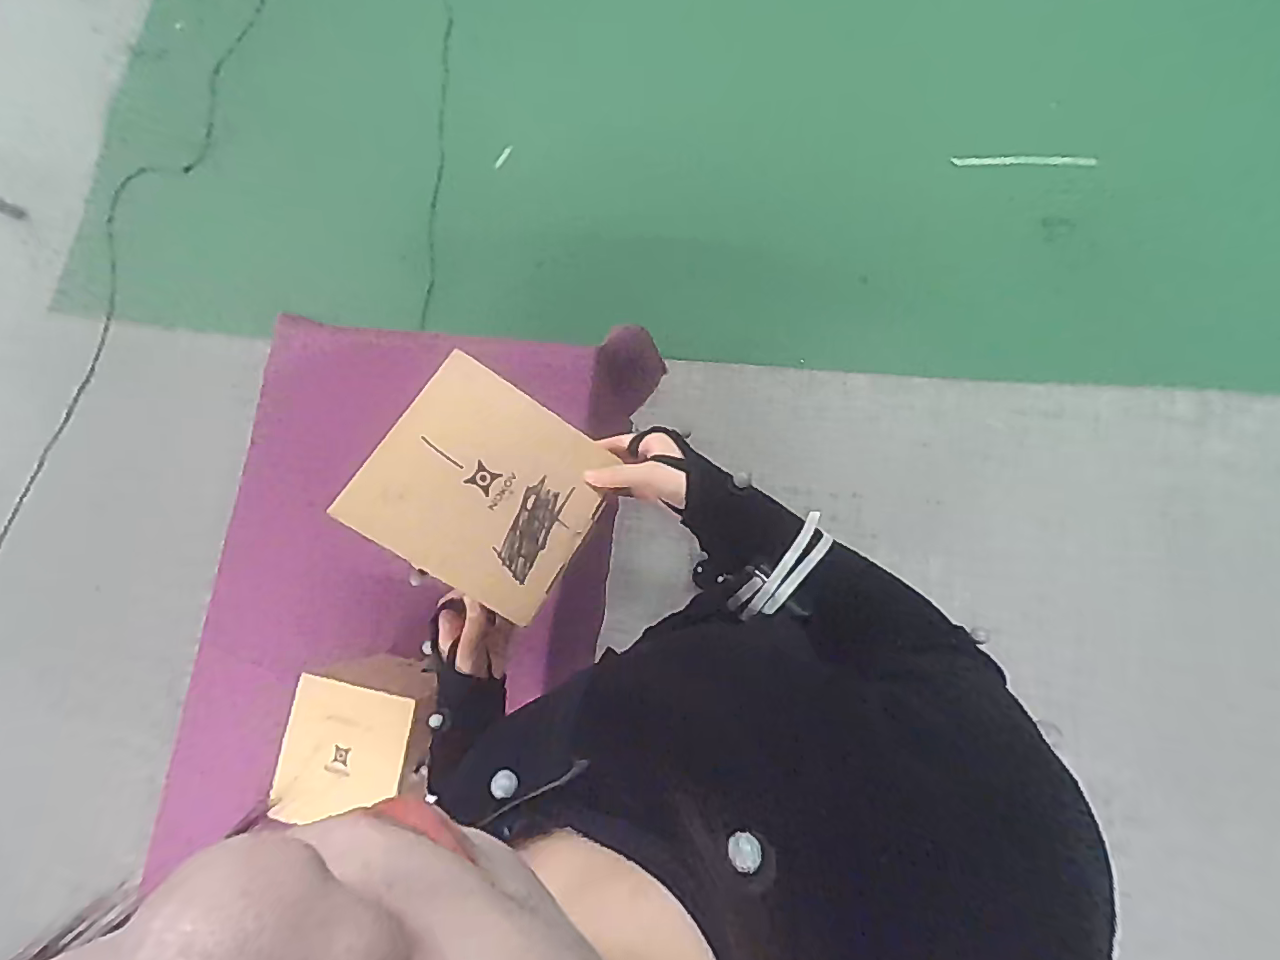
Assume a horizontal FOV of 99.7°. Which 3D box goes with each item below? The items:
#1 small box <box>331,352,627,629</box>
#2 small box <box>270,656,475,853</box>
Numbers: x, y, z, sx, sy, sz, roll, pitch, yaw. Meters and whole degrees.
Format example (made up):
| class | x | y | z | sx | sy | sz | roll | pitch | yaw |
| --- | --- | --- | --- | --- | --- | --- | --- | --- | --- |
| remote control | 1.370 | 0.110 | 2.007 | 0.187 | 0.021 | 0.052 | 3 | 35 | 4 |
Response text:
| class | x | y | z | sx | sy | sz | roll | pitch | yaw |
| --- | --- | --- | --- | --- | --- | --- | --- | --- | --- |
| small box | -0.146 | 0.017 | 0.512 | 0.179 | 0.176 | 0.168 | 36 | 70 | -11 |
| small box | -0.347 | 0.353 | 0.735 | 0.168 | 0.176 | 0.179 | 9 | 81 | 12 |
